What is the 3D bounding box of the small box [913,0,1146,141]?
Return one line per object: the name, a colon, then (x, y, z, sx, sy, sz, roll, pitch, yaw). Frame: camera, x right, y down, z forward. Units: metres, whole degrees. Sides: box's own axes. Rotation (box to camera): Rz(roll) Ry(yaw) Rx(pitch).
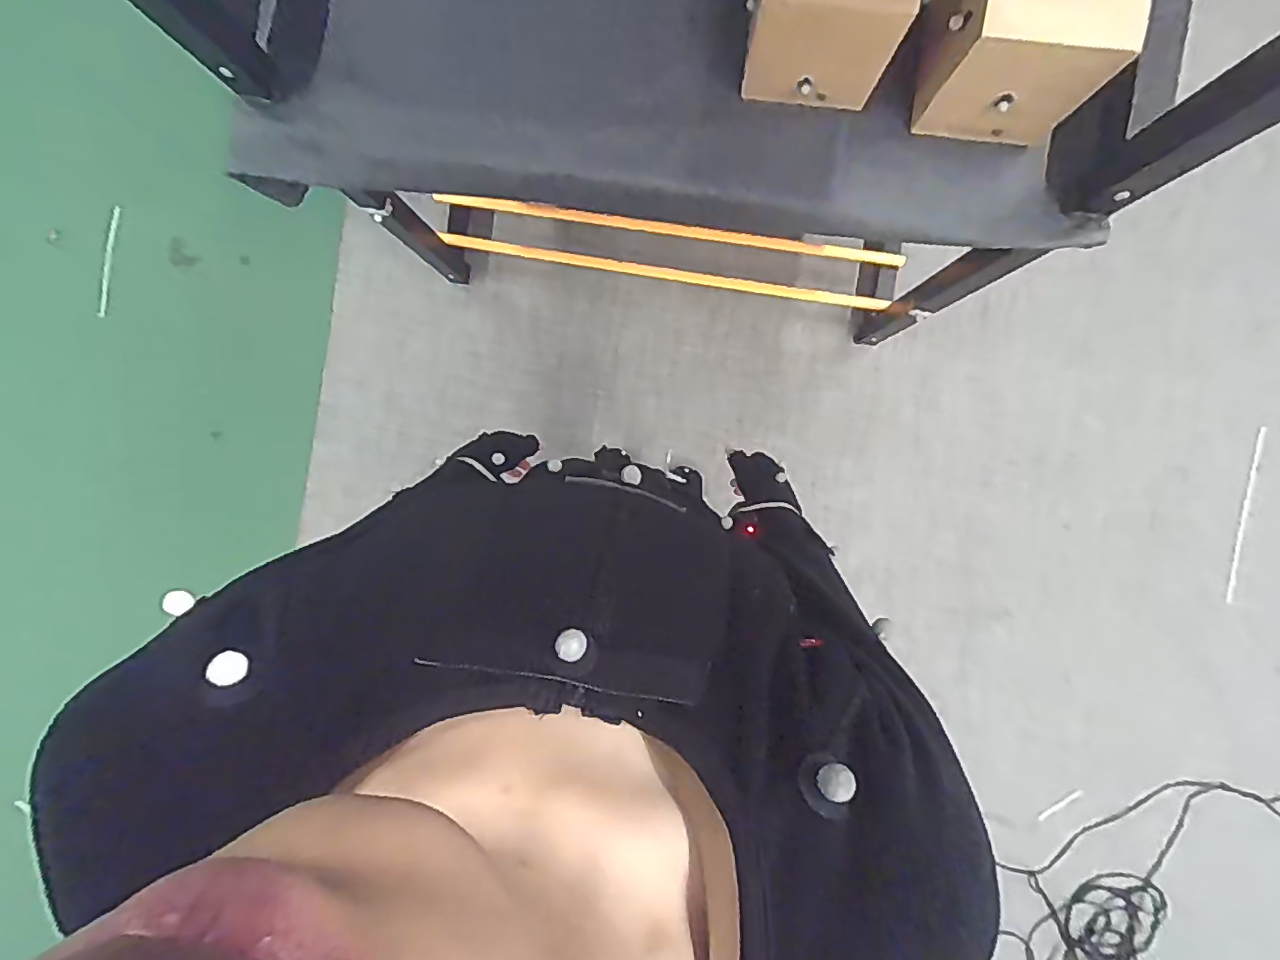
small box: (0.449, -0.540, 0.641, 0.168, 0.176, 0.179, 7, 91, 2)
